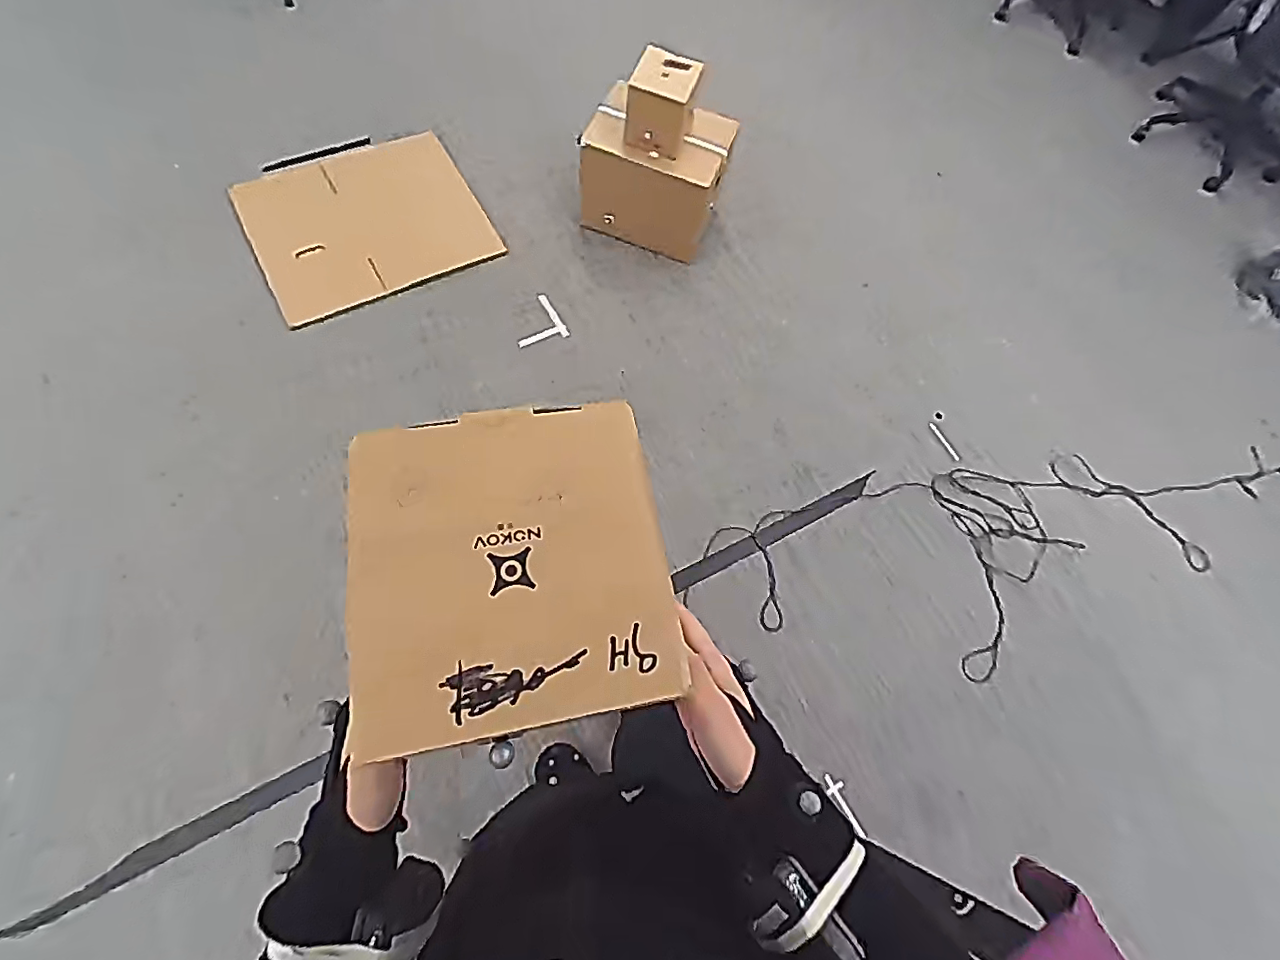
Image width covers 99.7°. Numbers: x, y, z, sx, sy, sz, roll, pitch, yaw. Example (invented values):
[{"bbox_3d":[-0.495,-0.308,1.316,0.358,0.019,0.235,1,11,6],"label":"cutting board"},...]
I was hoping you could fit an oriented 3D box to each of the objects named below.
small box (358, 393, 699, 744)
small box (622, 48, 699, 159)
[{"bbox_3d":[-0.072,0.066,0.365,0.168,0.176,0.179,-9,67,-8],"label":"small box"},{"bbox_3d":[0.052,-1.059,1.530,0.168,0.176,0.179,20,69,2],"label":"small box"}]
